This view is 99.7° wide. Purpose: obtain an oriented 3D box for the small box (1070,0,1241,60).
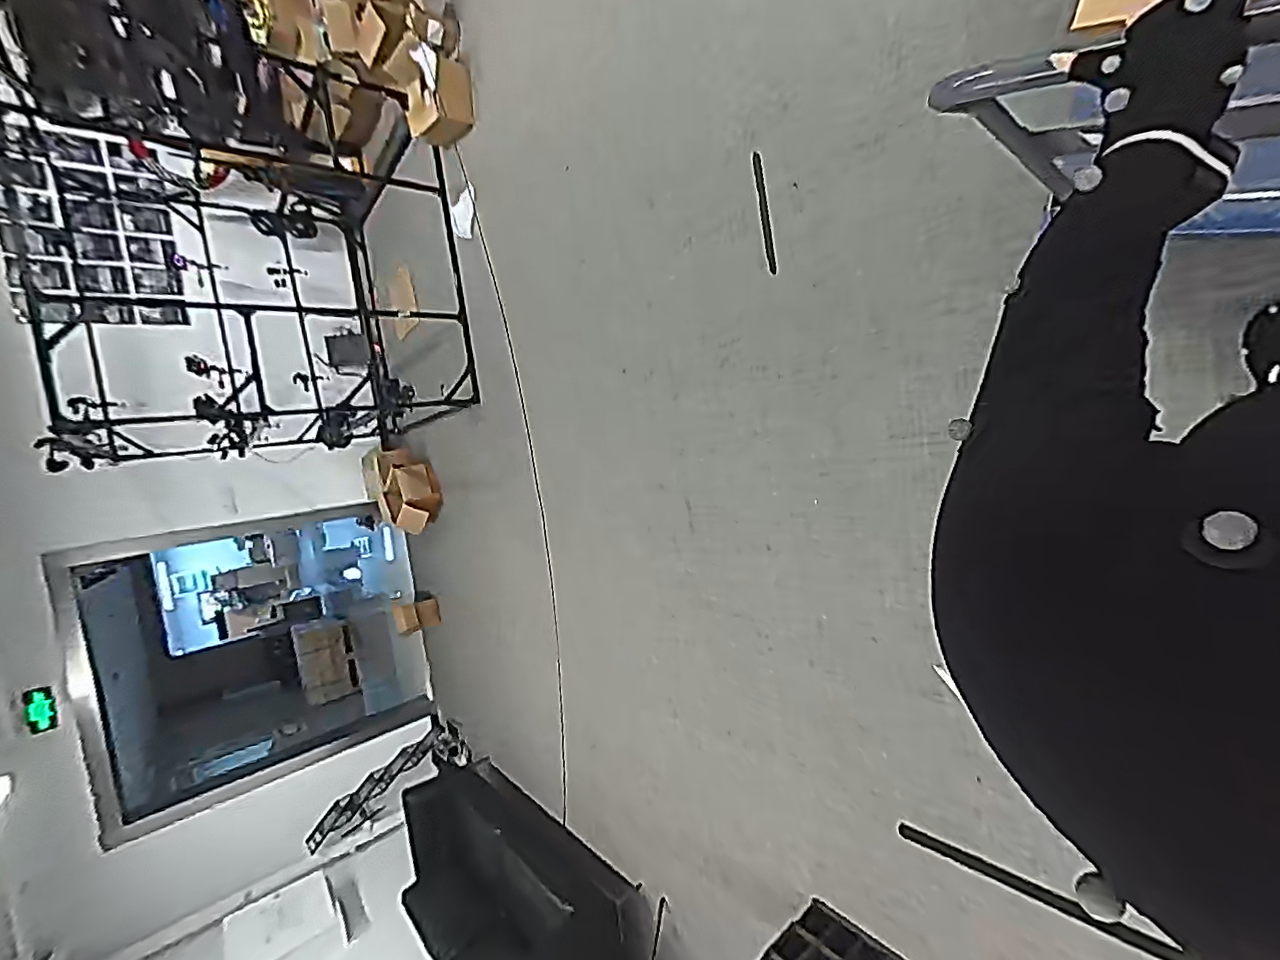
[{"bbox_3d":[0.815,-0.782,0.832,0.179,0.176,0.168,28,119,42],"label":"small box"}]
